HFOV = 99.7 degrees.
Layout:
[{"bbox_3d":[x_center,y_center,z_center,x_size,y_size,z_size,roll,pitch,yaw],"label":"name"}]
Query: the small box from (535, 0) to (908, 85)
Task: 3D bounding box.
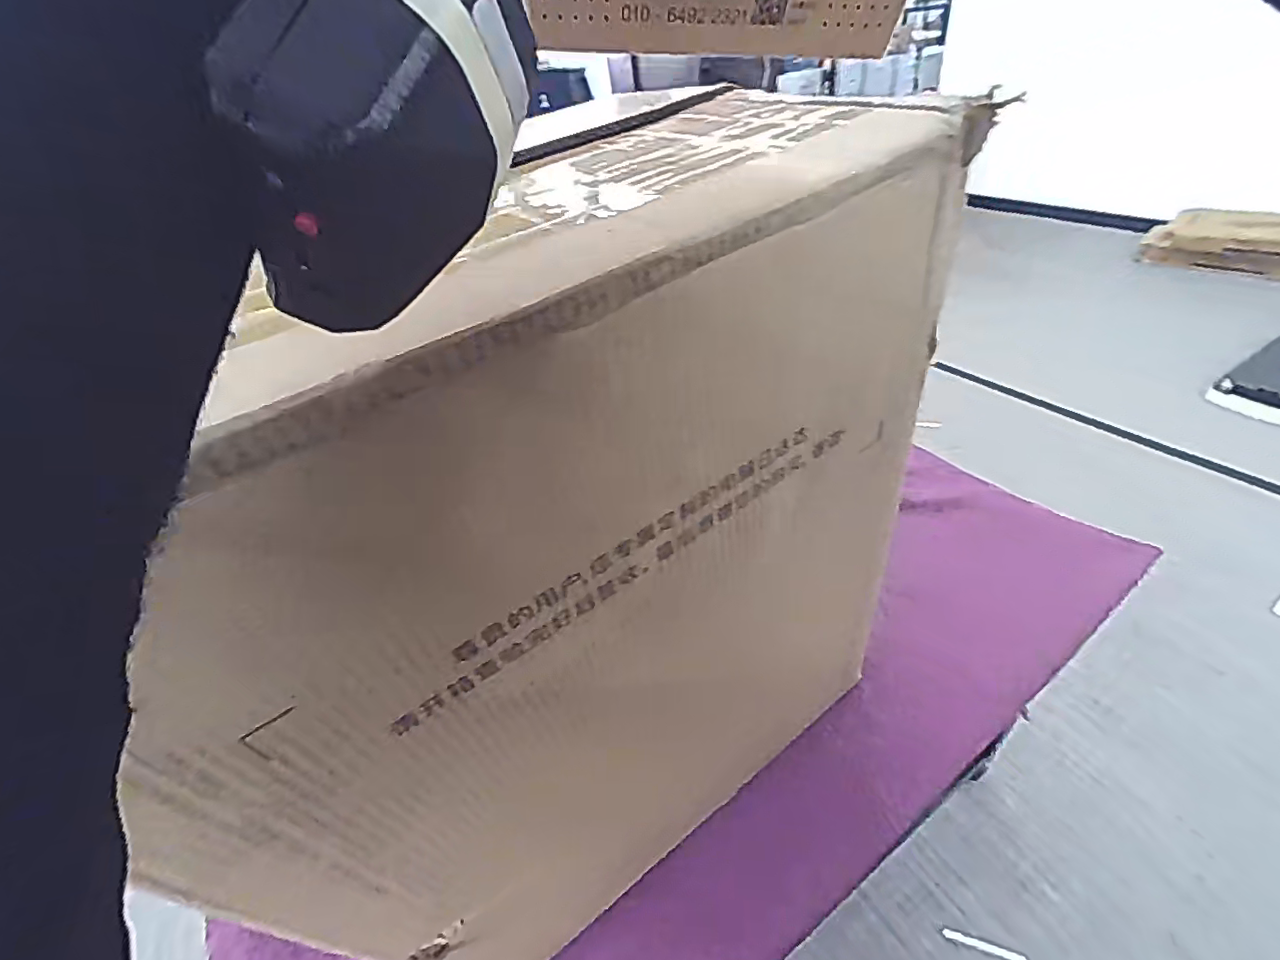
[{"bbox_3d":[0.032,-0.299,0.217,0.168,0.176,0.179,-4,63,-6],"label":"small box"}]
